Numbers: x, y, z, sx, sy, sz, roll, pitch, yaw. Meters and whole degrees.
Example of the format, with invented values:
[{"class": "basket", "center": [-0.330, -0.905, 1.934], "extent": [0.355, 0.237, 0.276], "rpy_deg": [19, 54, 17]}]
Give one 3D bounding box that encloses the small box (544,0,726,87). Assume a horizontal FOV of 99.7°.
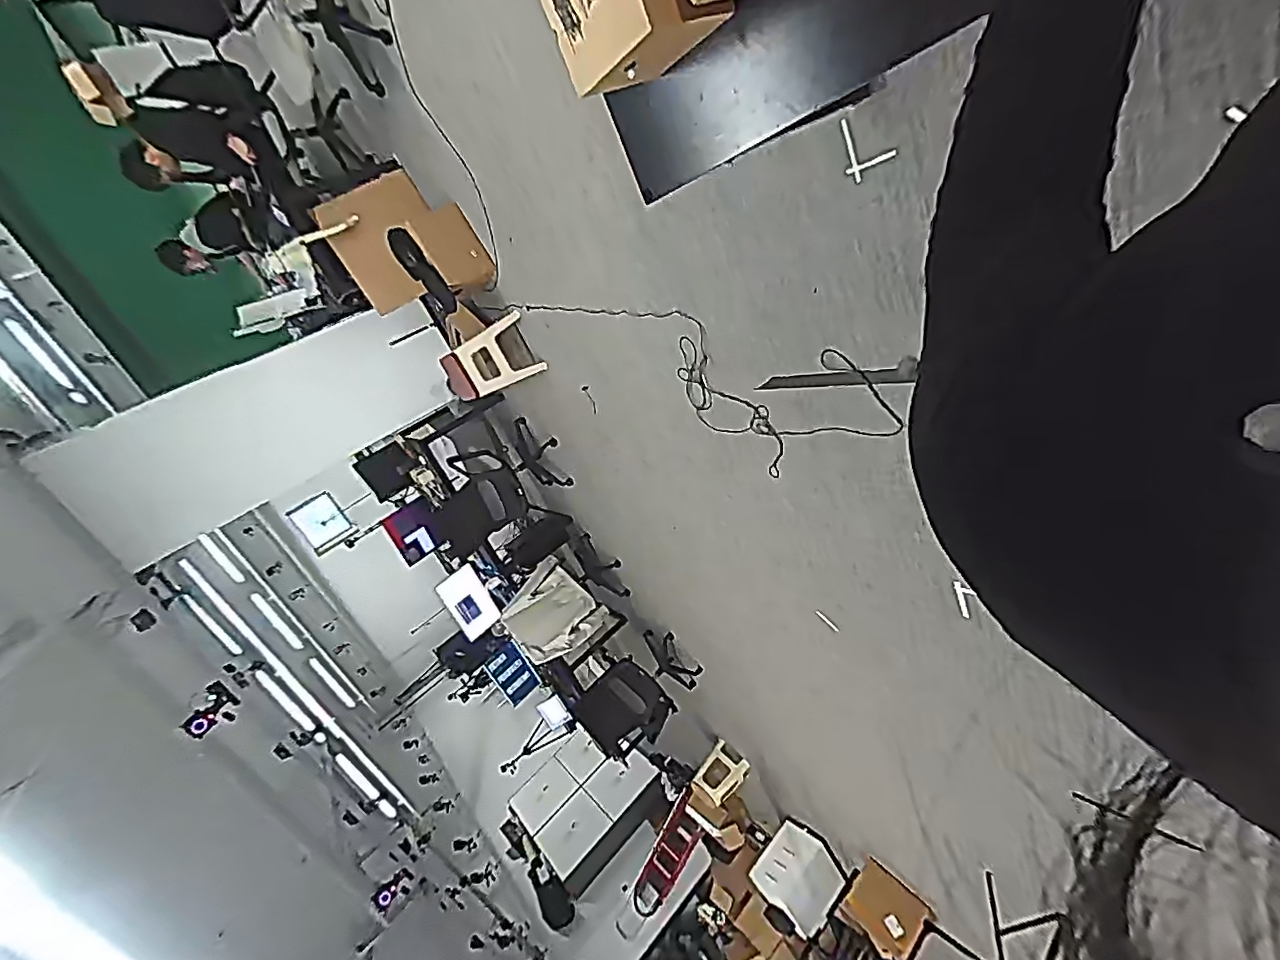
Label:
[{"class": "small box", "center": [-0.012, -0.668, 0.719], "extent": [0.179, 0.176, 0.168], "rpy_deg": [8, 130, 53]}]
